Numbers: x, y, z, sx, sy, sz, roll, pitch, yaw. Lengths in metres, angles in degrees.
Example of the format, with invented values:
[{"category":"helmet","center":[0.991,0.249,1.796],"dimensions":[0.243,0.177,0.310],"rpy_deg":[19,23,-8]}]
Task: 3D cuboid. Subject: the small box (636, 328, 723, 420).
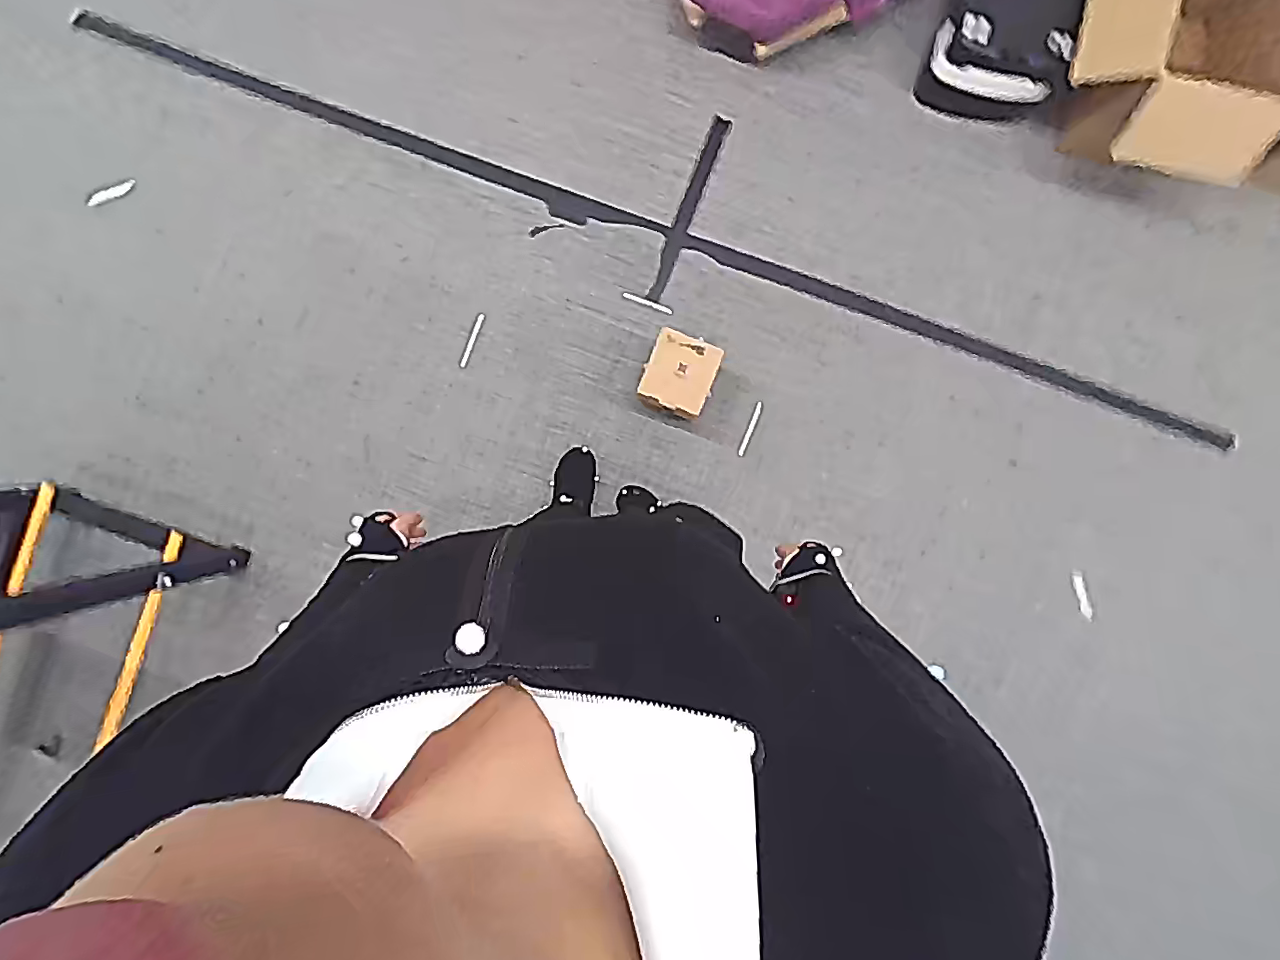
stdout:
[{"category":"small box","center":[0.100,-0.264,1.401],"dimensions":[0.168,0.176,0.179],"rpy_deg":[23,93,0]}]
